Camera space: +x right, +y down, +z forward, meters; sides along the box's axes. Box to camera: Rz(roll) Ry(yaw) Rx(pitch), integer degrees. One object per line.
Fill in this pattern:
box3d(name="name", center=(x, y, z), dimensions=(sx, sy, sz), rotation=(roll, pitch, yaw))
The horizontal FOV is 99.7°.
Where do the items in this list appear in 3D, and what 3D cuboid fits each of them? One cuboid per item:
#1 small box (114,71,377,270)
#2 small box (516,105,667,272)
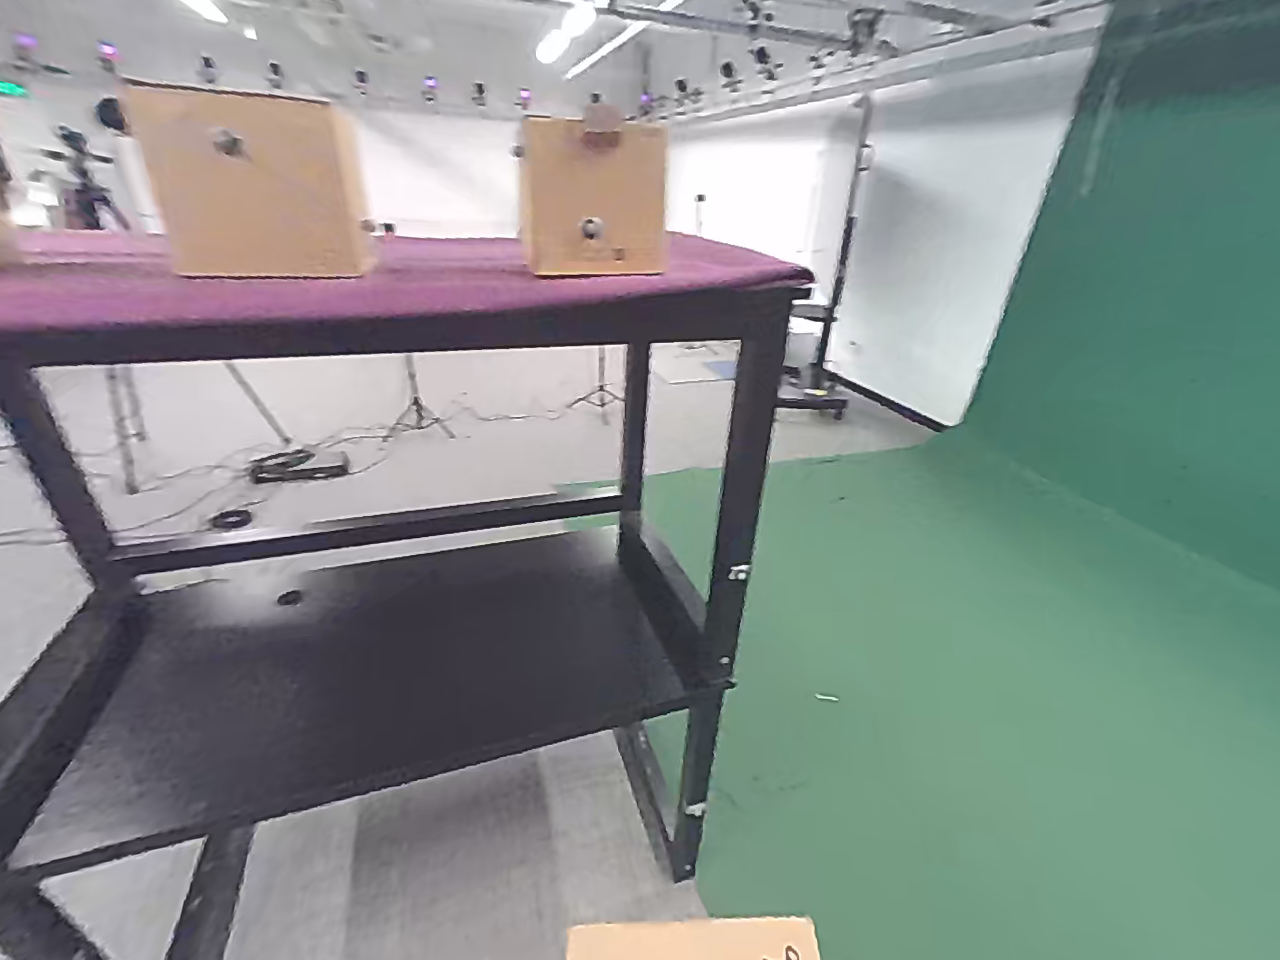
box3d(name="small box", center=(-0.414, -0.331, 0.608), dimensions=(0.179, 0.176, 0.168), rotation=(-6, 28, -17))
box3d(name="small box", center=(-0.070, -0.371, 0.708), dimensions=(0.168, 0.176, 0.179), rotation=(-7, 28, -14))
